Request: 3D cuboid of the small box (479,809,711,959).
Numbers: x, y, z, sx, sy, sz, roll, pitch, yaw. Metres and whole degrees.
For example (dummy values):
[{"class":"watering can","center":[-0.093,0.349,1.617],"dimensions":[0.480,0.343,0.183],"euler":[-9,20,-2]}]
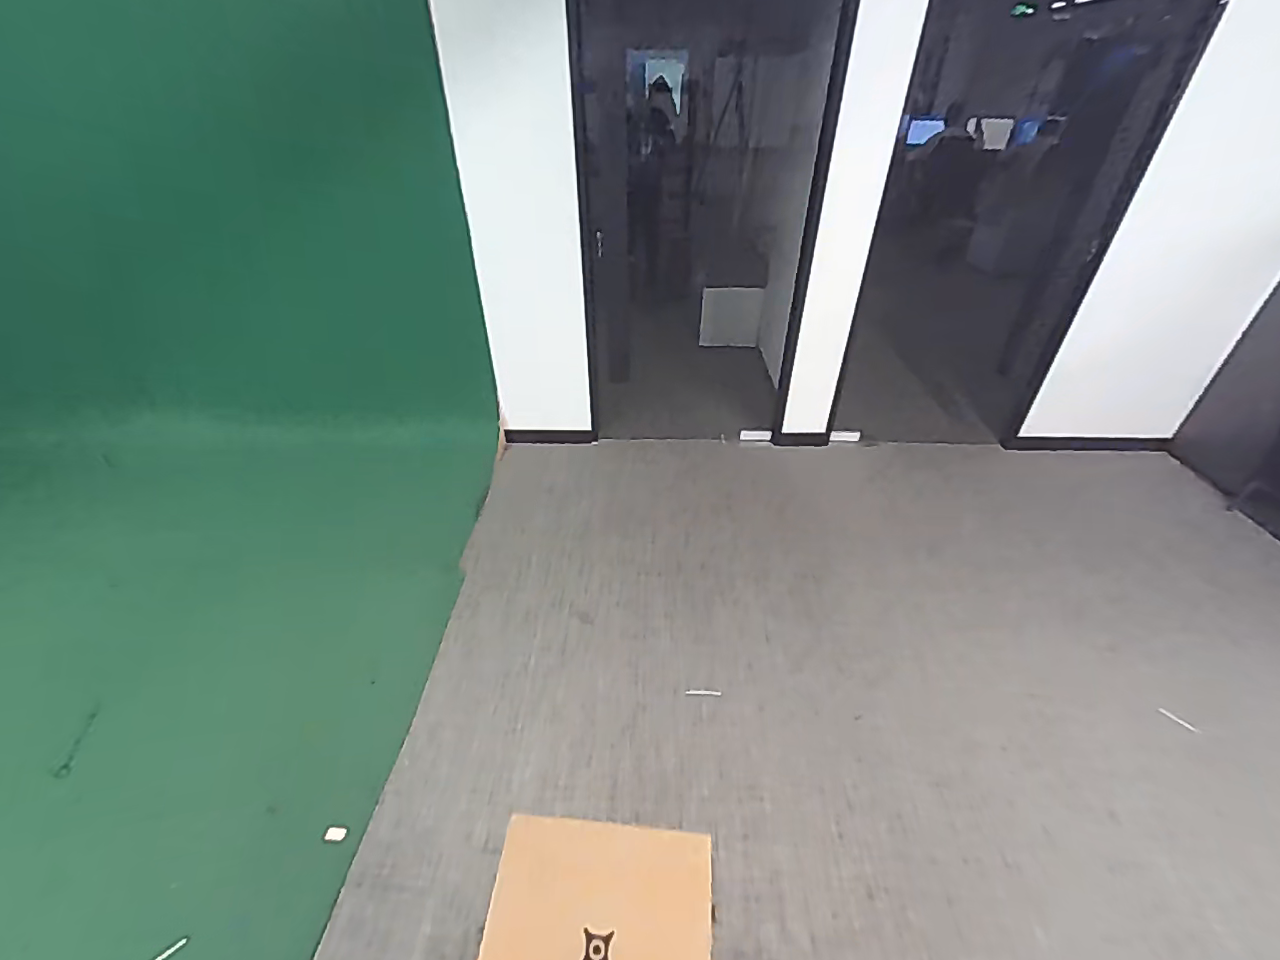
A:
[{"class":"small box","center":[-0.034,0.397,0.443],"dimensions":[0.168,0.176,0.179],"euler":[4,47,5]}]
